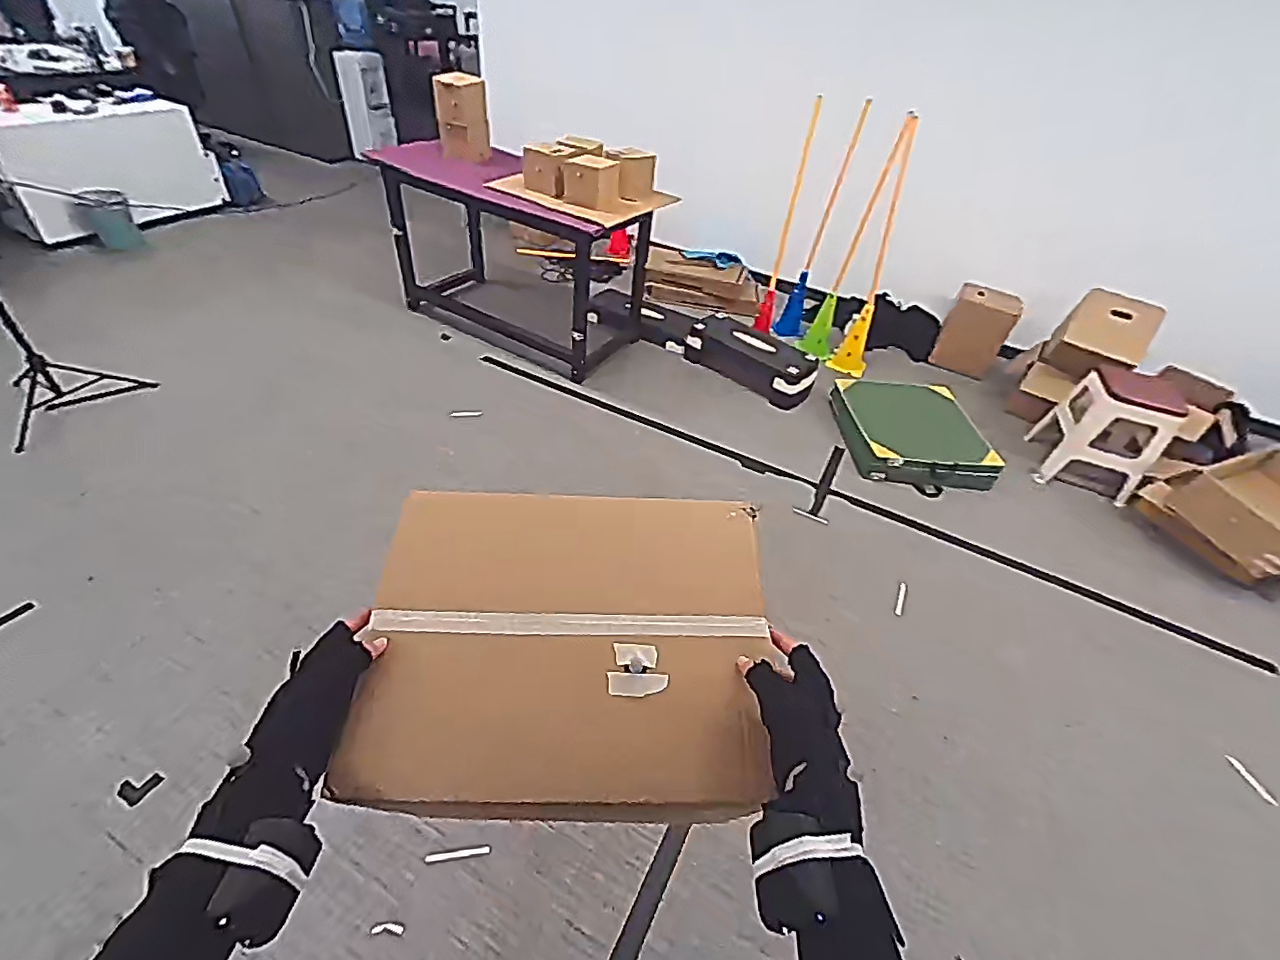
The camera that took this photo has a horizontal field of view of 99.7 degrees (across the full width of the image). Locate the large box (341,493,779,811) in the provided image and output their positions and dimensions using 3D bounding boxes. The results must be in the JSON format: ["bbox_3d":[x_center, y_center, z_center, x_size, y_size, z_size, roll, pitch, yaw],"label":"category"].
[{"bbox_3d":[-0.080,0.230,0.691,0.408,0.320,0.320,2,56,-3],"label":"large box"}]
